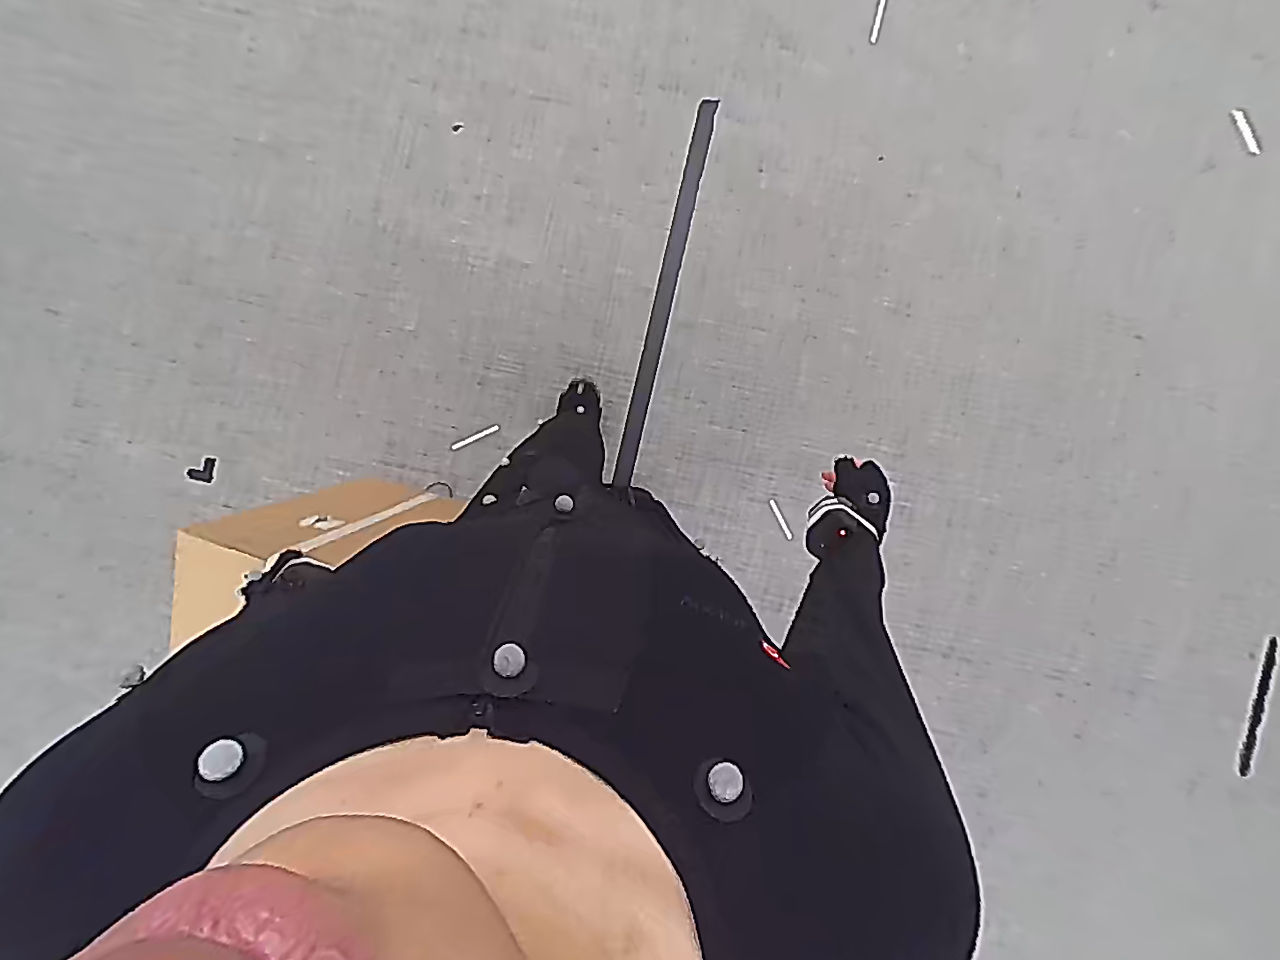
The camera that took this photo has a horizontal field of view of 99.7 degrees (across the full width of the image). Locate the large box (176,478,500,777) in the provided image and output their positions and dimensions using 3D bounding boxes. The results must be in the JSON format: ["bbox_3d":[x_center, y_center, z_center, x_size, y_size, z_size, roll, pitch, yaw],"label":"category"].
[{"bbox_3d":[-0.495,0.216,0.957,0.320,0.408,0.320,15,104,8],"label":"large box"}]
